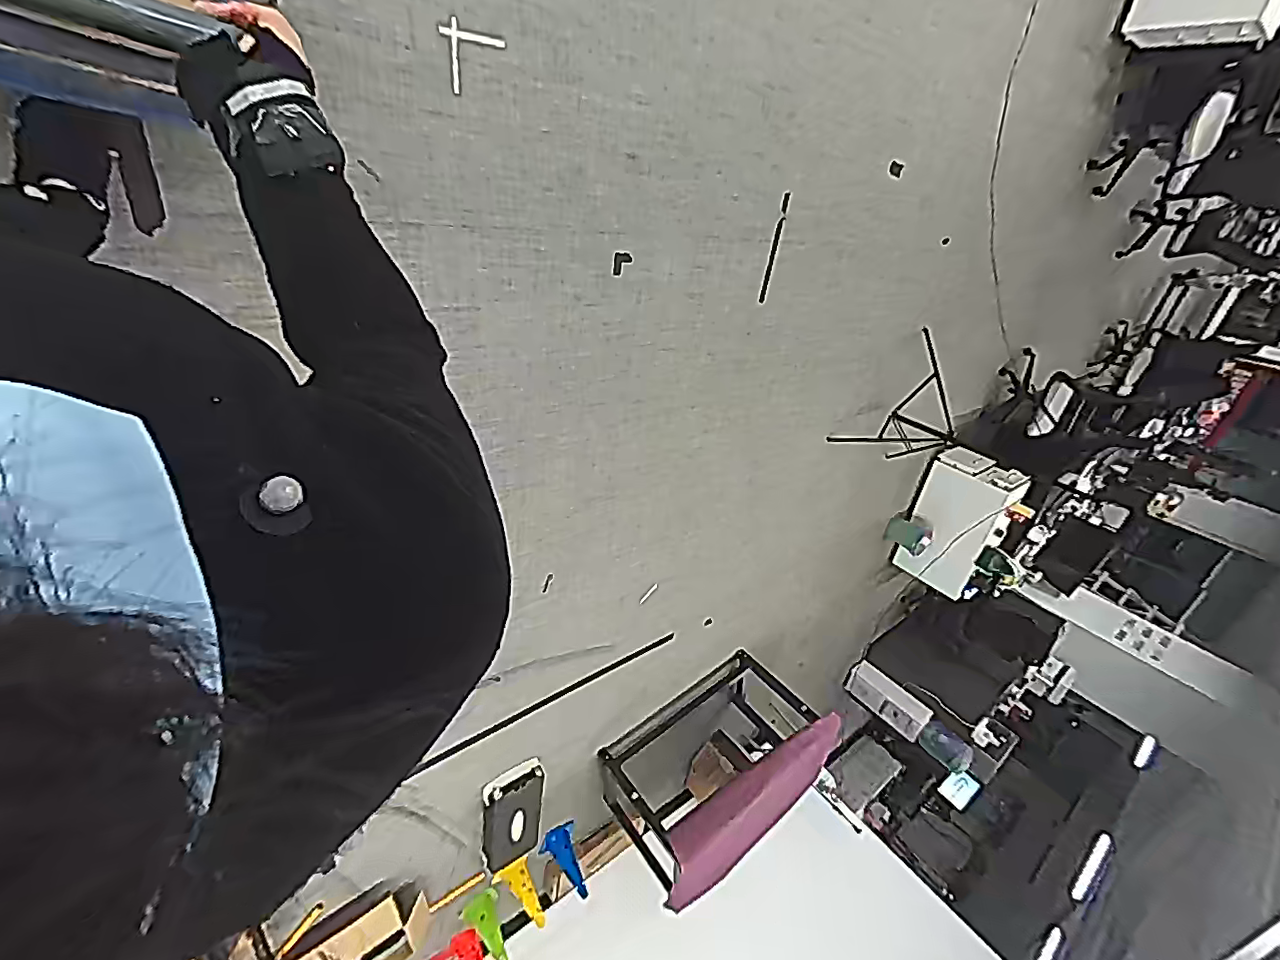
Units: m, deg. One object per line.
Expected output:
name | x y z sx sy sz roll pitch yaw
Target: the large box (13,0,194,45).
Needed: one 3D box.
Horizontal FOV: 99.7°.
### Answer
large box | -0.747 -0.716 0.553 0.408 0.320 0.320 -9 123 -40
